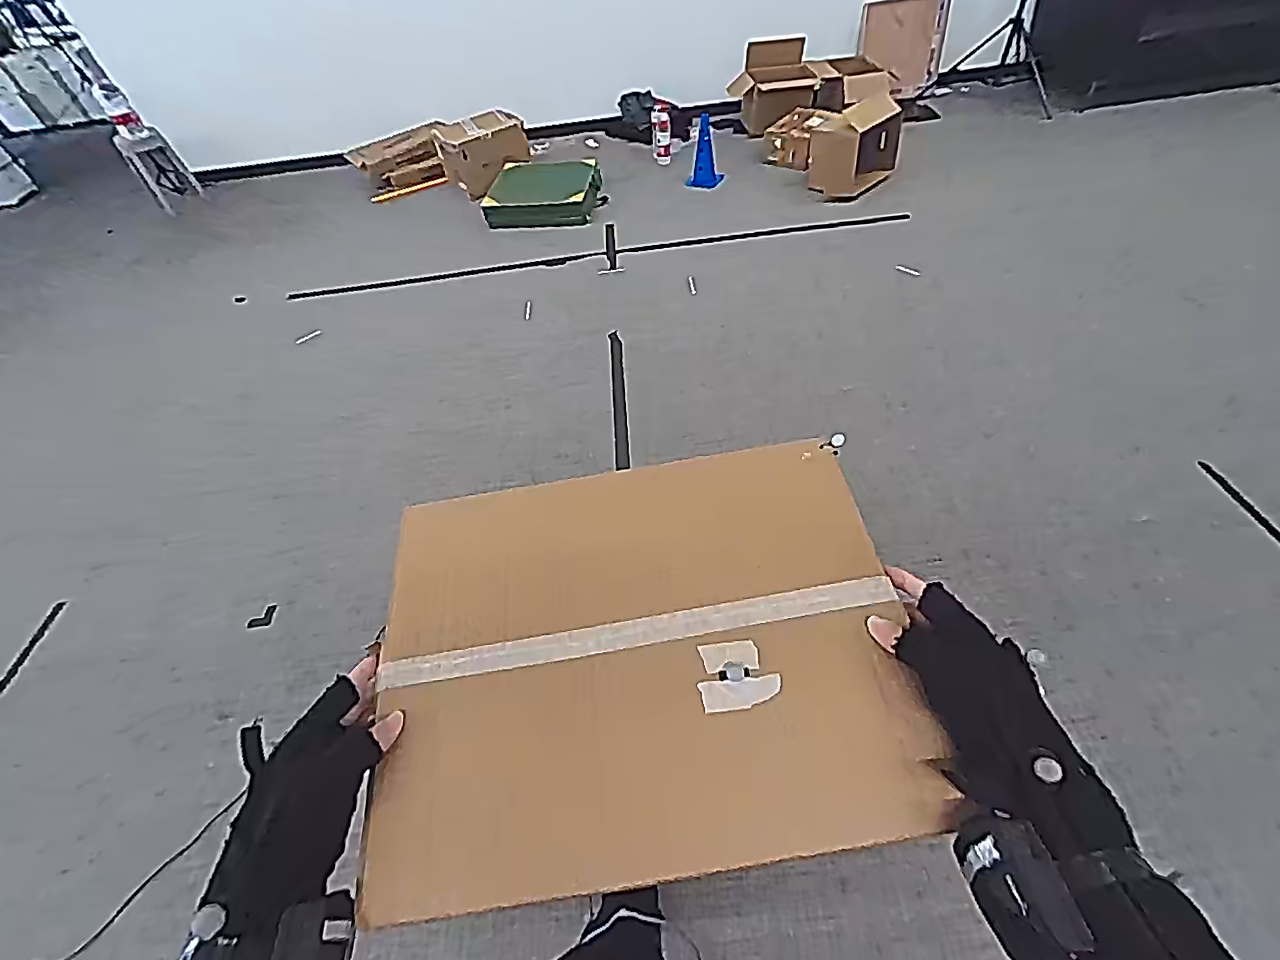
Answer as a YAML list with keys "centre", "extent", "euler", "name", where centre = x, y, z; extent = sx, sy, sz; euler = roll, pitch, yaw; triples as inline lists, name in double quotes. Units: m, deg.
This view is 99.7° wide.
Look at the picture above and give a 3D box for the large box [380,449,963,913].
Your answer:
- centre: [0.014, 0.210, 0.562]
  extent: [0.408, 0.320, 0.320]
  euler: [-9, 56, 0]
  name: "large box"
